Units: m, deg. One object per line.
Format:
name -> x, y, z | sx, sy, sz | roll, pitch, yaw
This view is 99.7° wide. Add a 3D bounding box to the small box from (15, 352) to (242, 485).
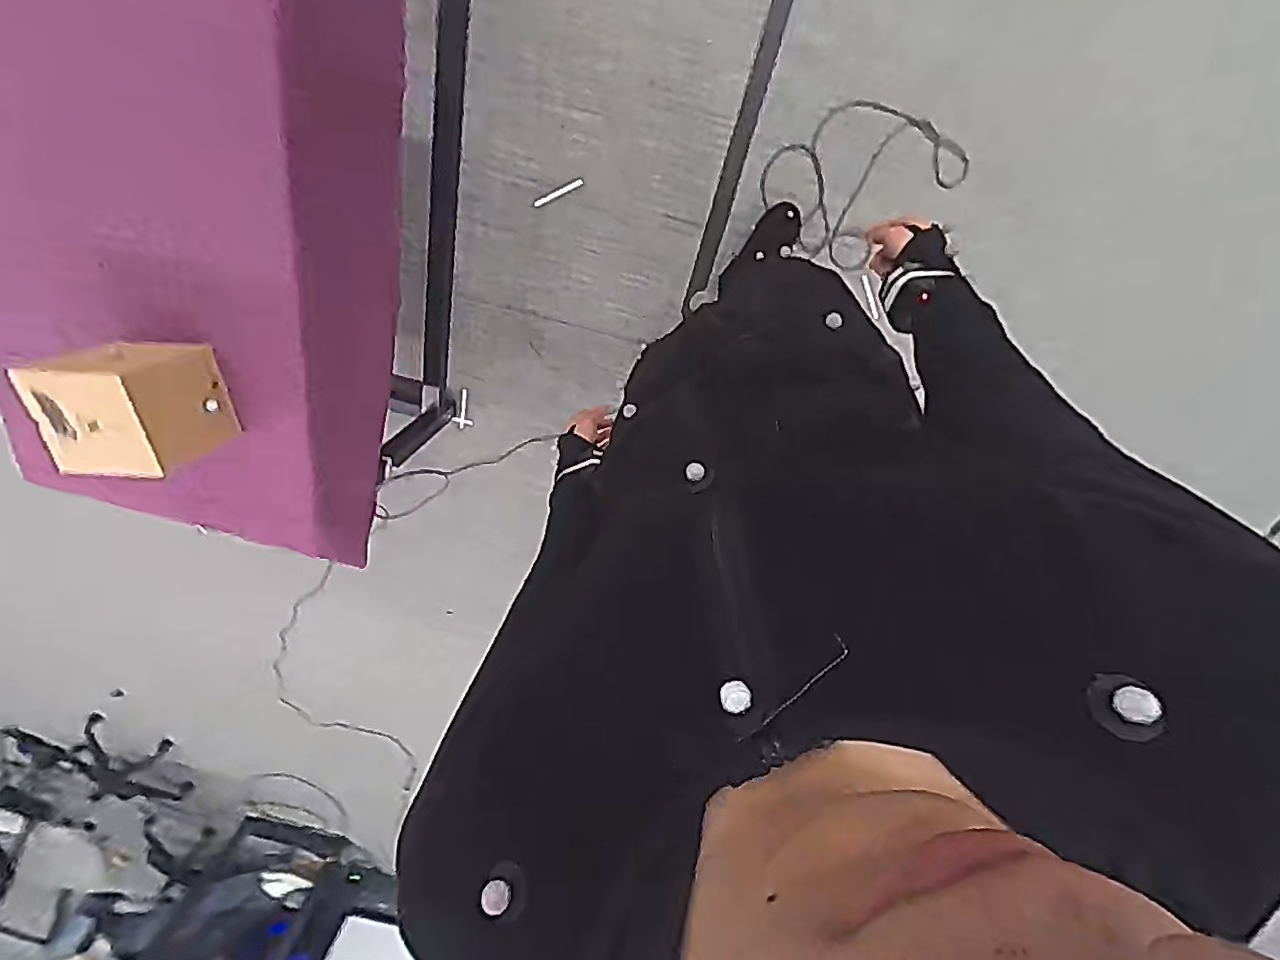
small box -> -0.807, -0.106, 0.877 | 0.179, 0.176, 0.168 | 2, 118, 5
